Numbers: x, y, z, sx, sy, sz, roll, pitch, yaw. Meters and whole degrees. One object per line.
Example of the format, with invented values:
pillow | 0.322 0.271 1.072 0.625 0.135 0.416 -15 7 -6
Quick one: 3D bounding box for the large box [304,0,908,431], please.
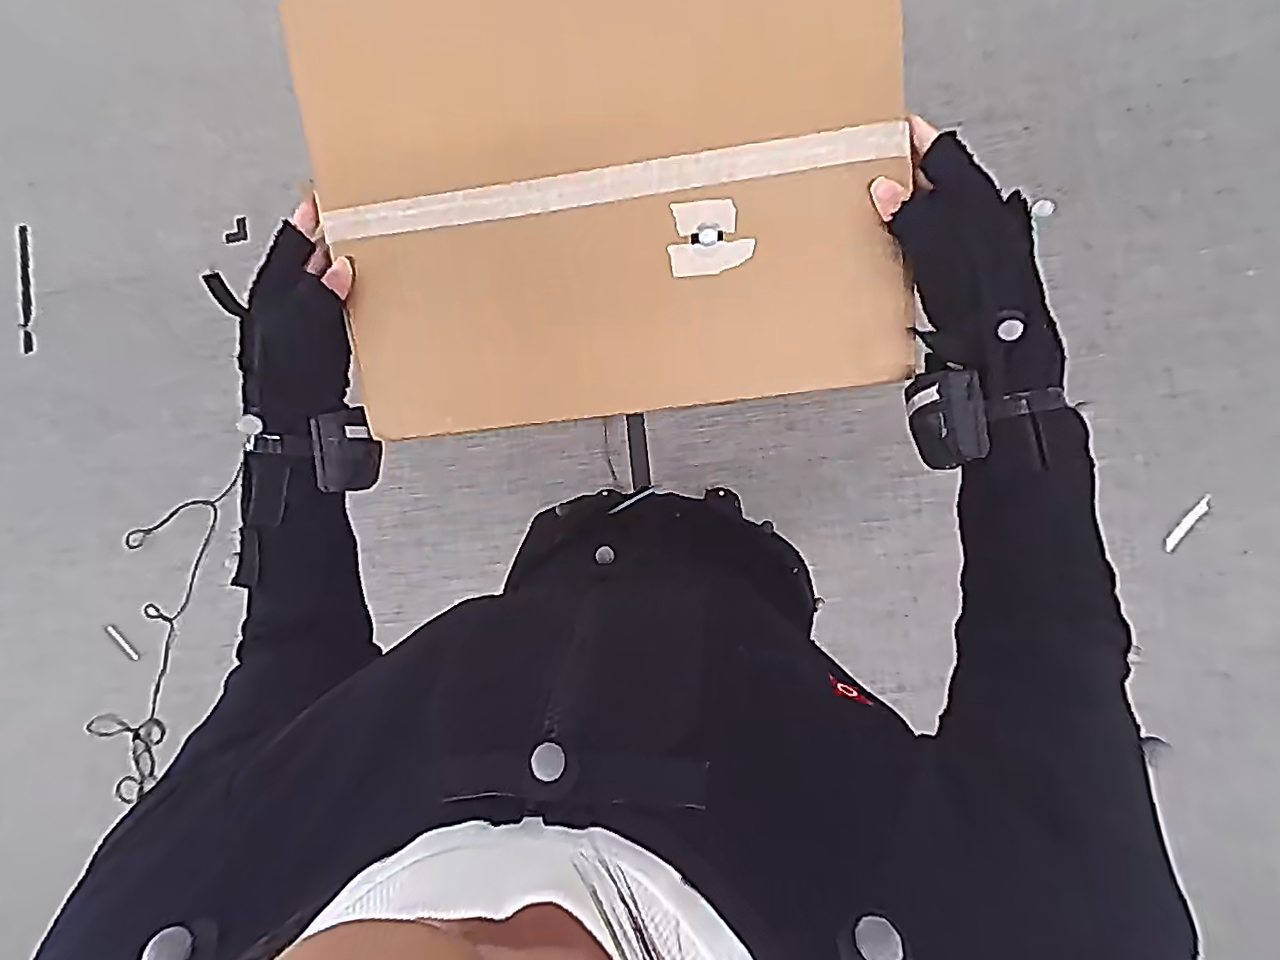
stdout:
large box | -0.013 -0.238 0.531 0.408 0.320 0.320 -7 101 4
